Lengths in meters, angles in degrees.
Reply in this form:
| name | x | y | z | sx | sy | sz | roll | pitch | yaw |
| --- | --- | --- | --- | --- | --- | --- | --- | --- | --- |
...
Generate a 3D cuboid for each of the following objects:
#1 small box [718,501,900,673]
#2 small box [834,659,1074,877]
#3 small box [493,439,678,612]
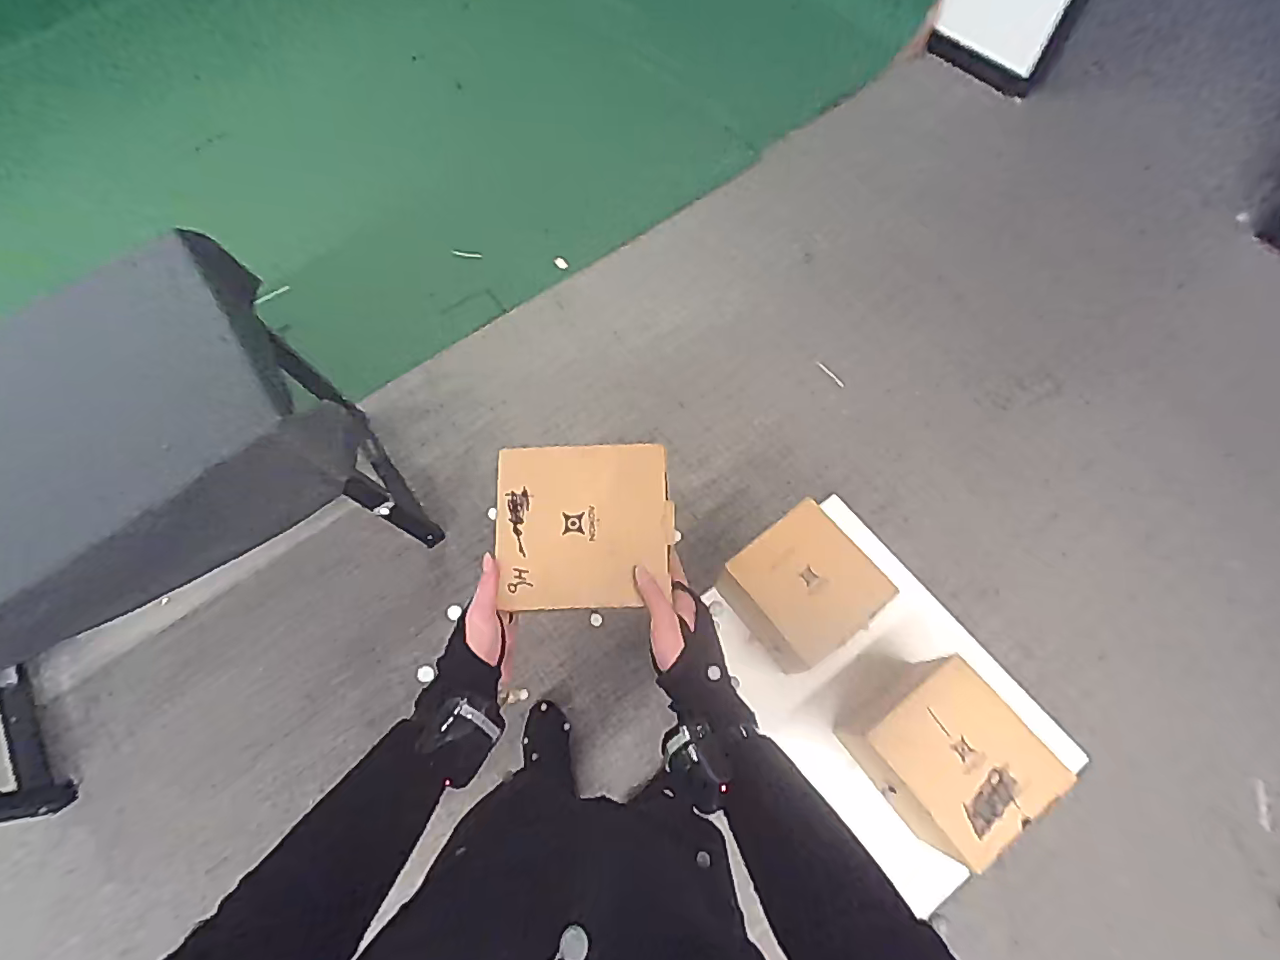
| name | x | y | z | sx | sy | sz | roll | pitch | yaw |
| --- | --- | --- | --- | --- | --- | --- | --- | --- | --- |
| small box | 0.235 | 0.166 | 0.802 | 0.168 | 0.176 | 0.179 | -35 | 70 | -13 |
| small box | 0.390 | 0.361 | 0.708 | 0.168 | 0.176 | 0.179 | -34 | 68 | -11 |
| small box | -0.055 | 0.059 | 0.607 | 0.179 | 0.176 | 0.168 | 0 | 74 | -2 |
